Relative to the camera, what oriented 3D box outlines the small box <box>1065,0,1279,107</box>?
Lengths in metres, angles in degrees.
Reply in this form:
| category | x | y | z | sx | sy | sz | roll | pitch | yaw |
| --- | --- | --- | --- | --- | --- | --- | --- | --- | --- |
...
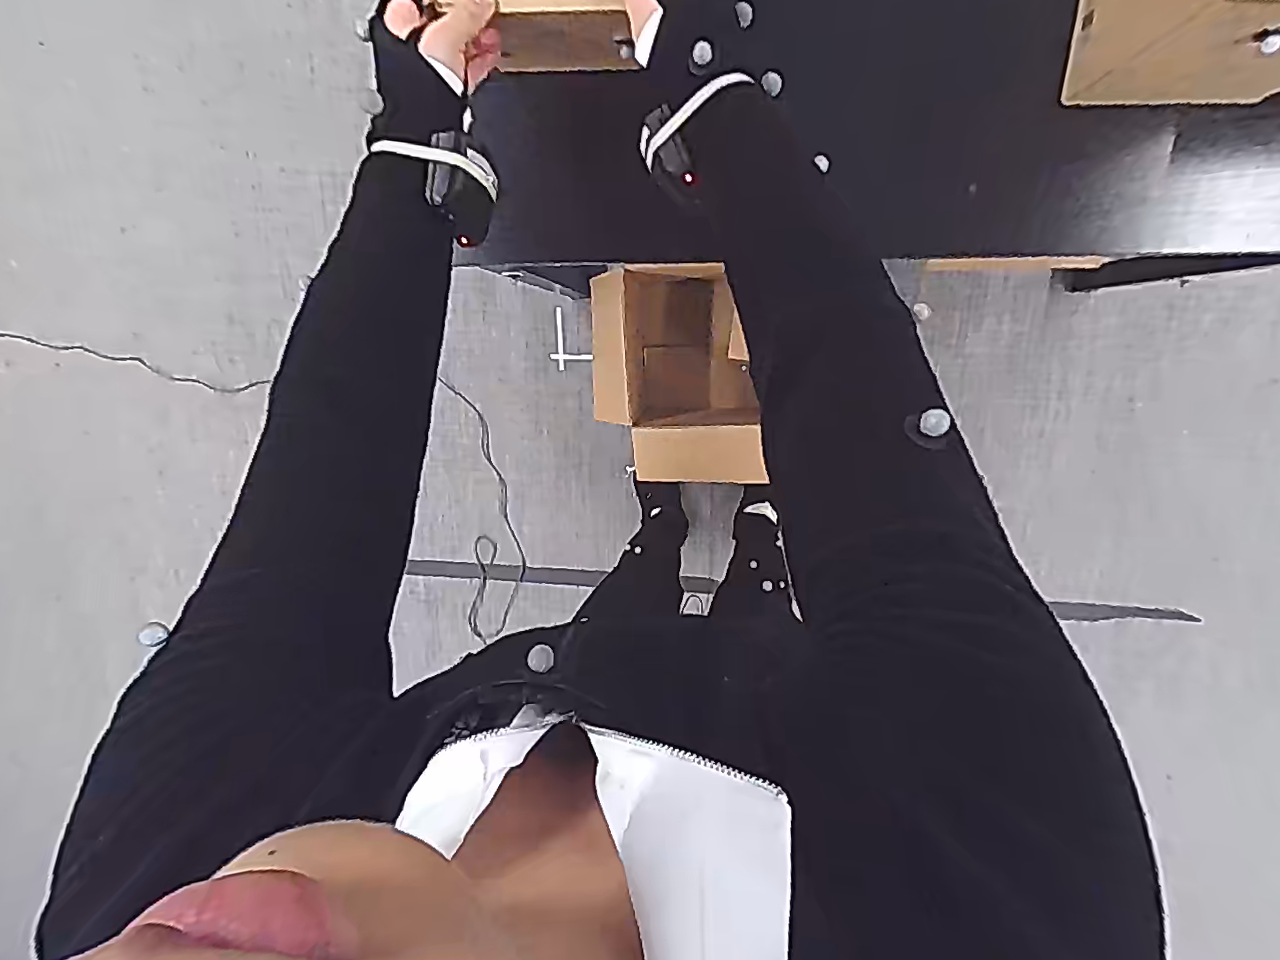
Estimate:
| category | x | y | z | sx | sy | sz | roll | pitch | yaw |
| --- | --- | --- | --- | --- | --- | --- | --- | --- | --- |
| small box | 0.485 | -0.416 | 0.421 | 0.179 | 0.176 | 0.168 | 3 | 104 | 4 |
